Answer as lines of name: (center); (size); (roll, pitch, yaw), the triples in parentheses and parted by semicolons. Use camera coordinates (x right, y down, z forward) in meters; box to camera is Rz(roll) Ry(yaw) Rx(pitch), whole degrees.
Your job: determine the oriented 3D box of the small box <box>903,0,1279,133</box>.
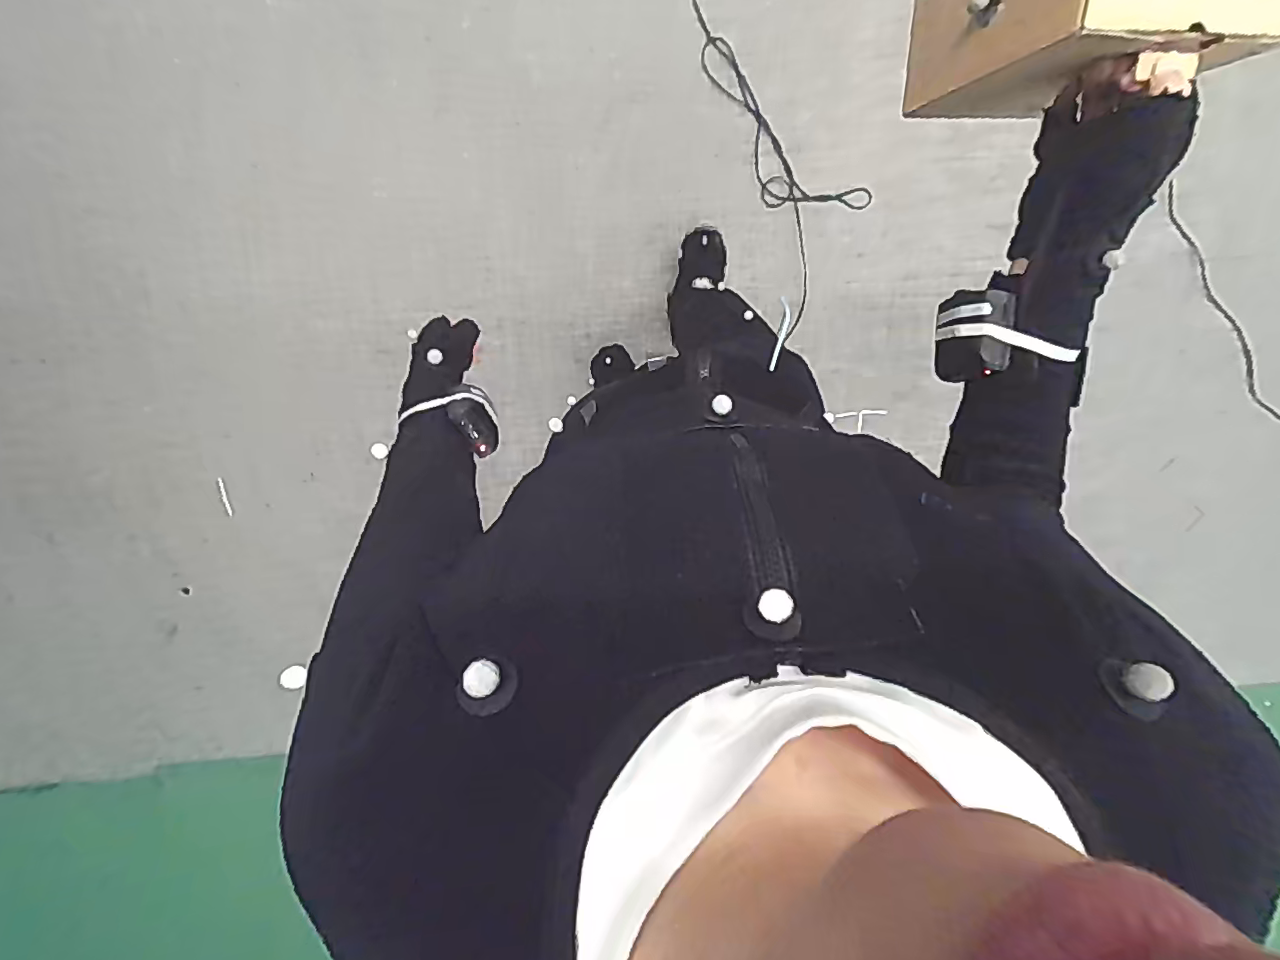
small box: (0.315, -0.365, 0.383); (0.168, 0.176, 0.179); (-5, 109, -9)
